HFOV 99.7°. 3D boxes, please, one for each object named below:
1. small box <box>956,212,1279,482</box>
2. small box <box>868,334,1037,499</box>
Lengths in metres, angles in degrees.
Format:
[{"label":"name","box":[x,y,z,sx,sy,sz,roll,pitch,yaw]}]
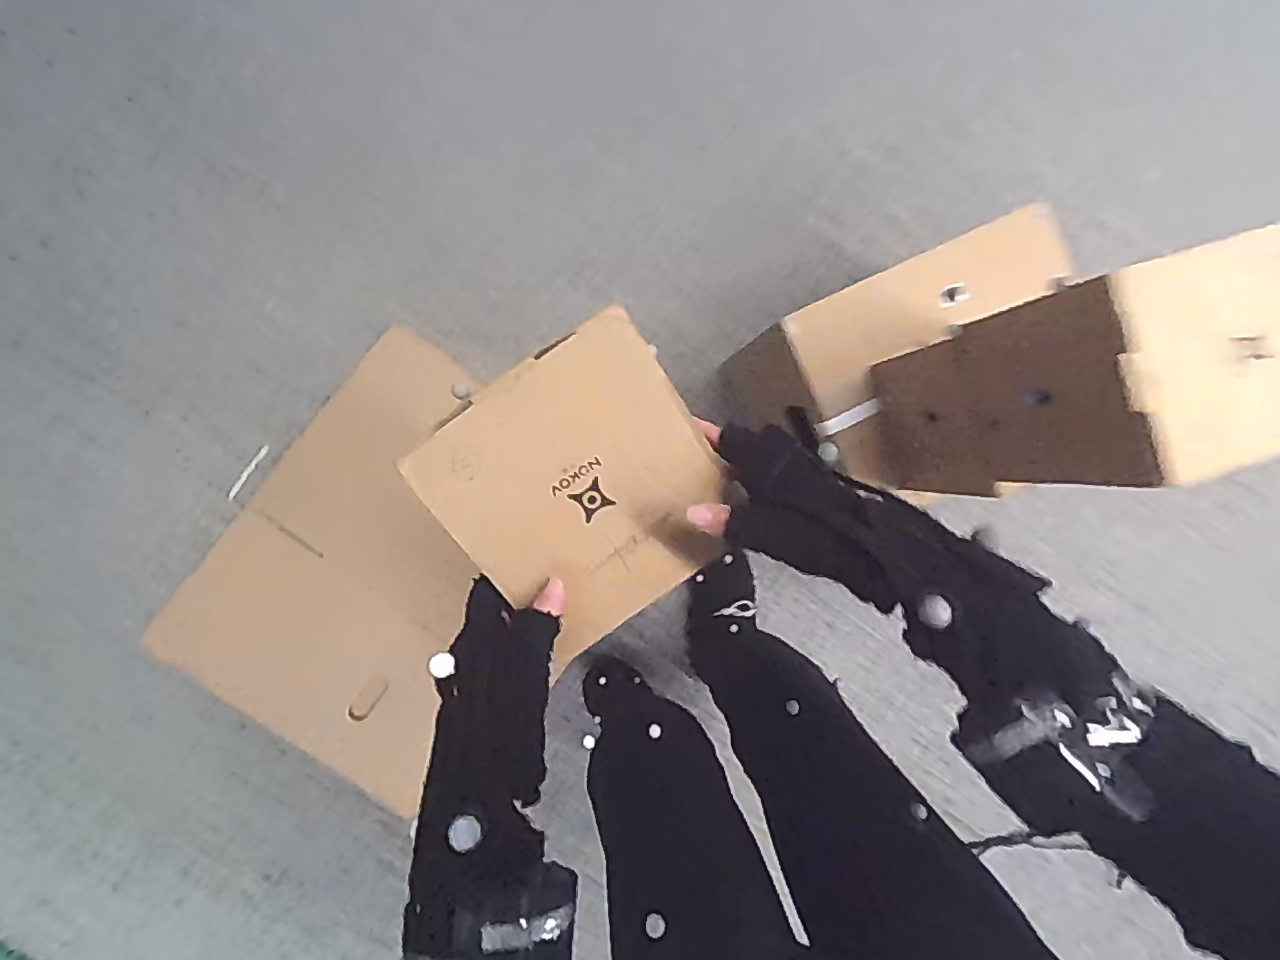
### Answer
[{"label":"small box","box":[0.425,-0.100,0.489,0.179,0.176,0.168,-20,91,-6]},{"label":"small box","box":[0.408,-0.088,0.649,0.168,0.176,0.179,-19,92,-5]}]
